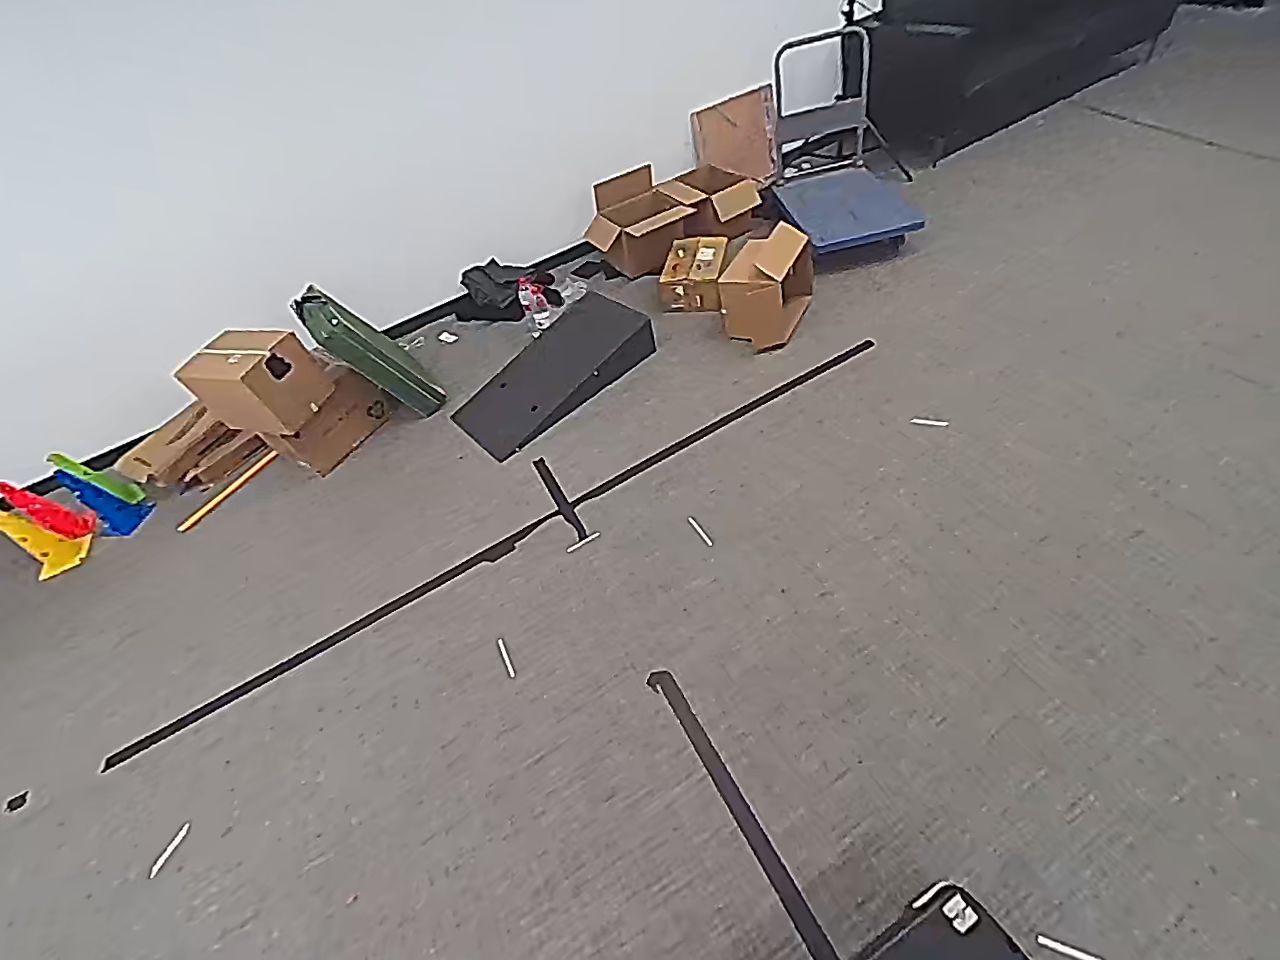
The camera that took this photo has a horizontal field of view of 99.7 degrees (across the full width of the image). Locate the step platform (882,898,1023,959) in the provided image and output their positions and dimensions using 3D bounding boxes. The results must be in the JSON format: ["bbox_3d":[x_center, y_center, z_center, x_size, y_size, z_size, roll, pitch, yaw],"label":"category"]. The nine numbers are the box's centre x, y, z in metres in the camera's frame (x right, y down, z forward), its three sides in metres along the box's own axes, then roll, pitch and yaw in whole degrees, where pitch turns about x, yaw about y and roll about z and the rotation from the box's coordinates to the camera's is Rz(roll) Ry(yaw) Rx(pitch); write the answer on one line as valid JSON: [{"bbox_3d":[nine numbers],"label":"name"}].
[{"bbox_3d":[0.458,1.119,0.993,0.684,0.204,0.286,-29,50,-13],"label":"step platform"}]
